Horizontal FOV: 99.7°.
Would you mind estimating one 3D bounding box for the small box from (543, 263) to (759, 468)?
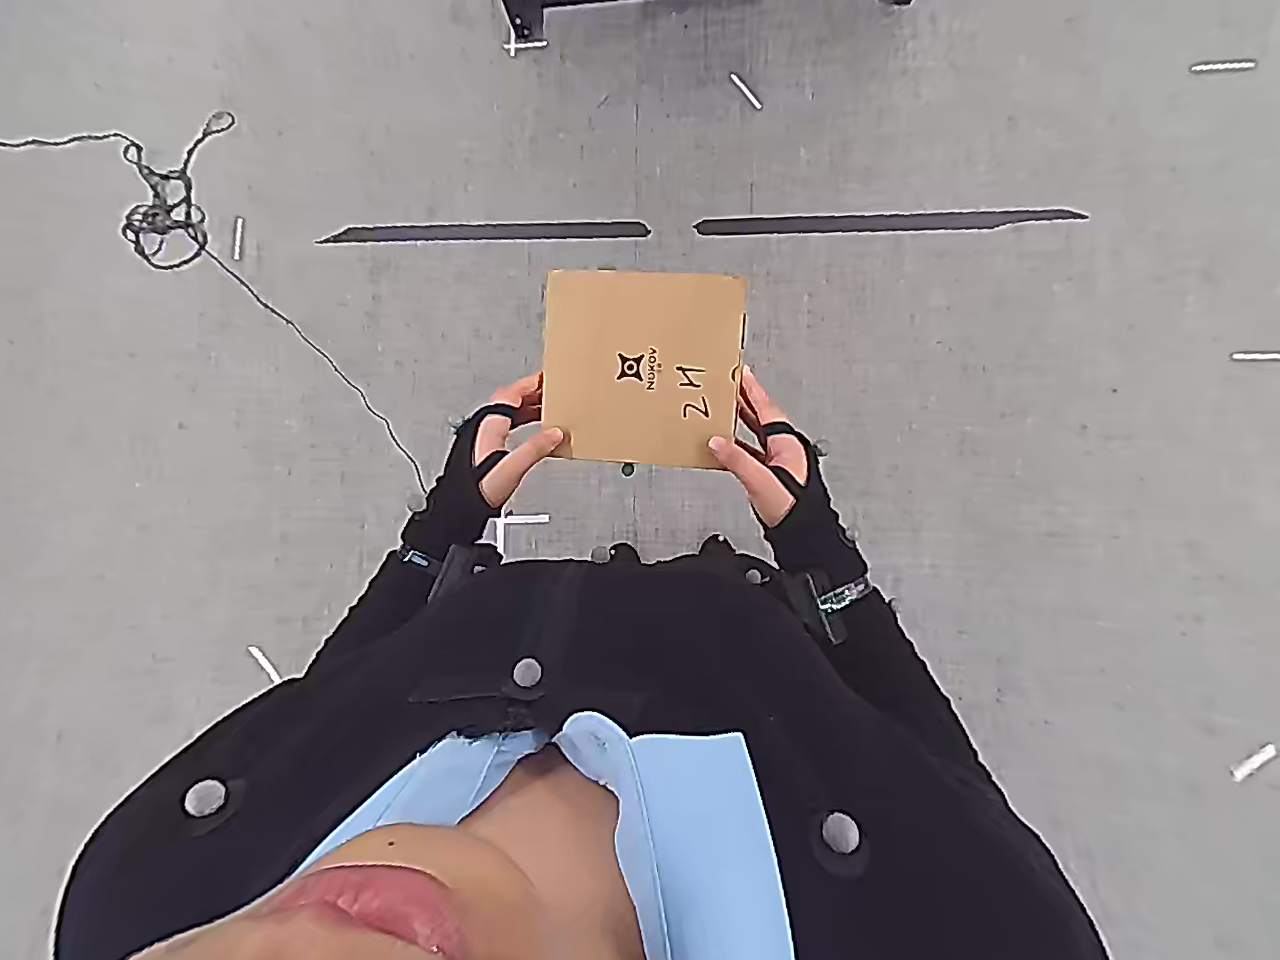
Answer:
[{"bbox_3d":[0.016,-0.104,0.540,0.179,0.176,0.168,5,96,6],"label":"small box"}]
